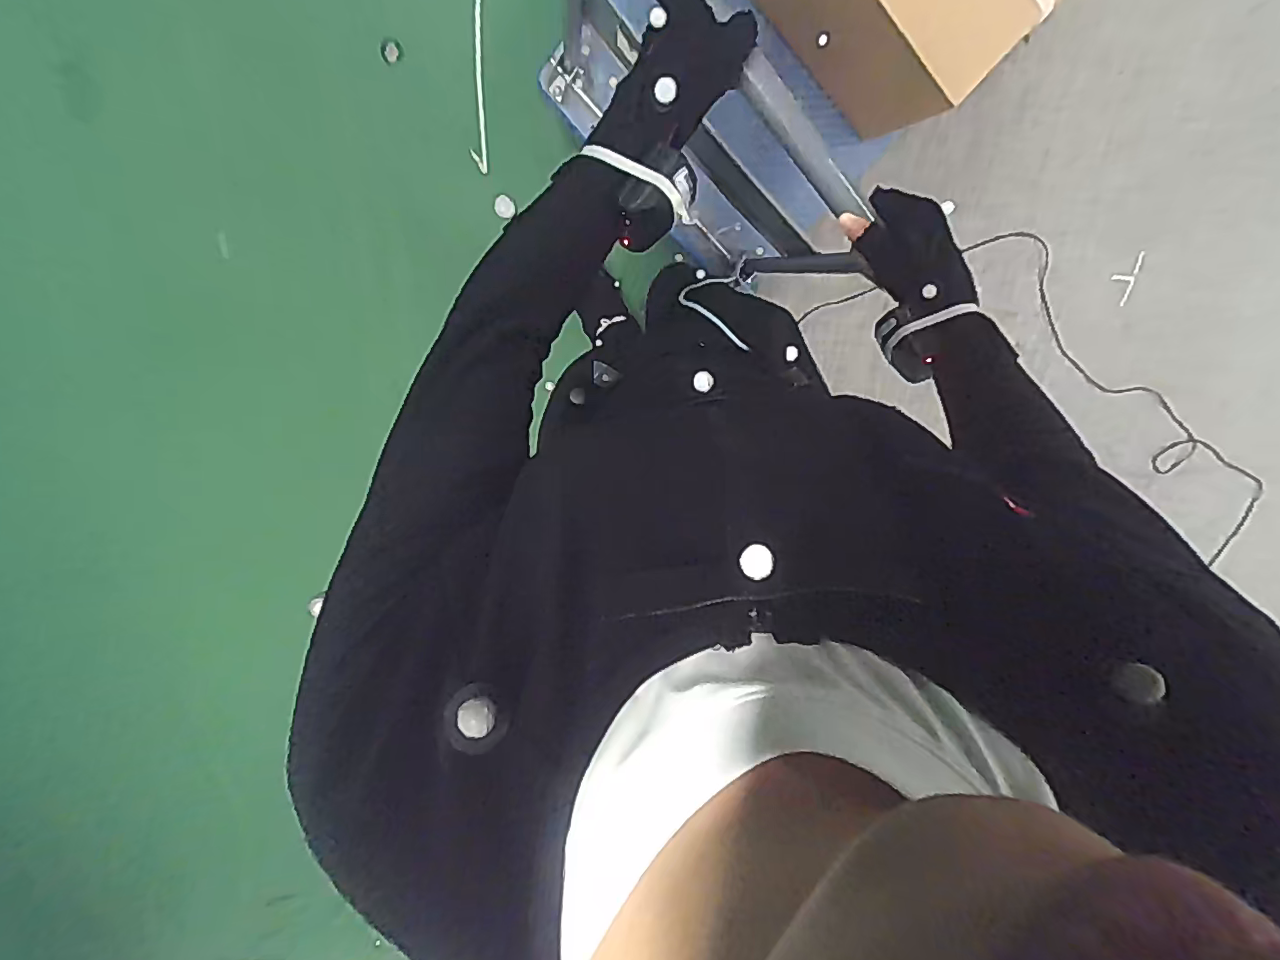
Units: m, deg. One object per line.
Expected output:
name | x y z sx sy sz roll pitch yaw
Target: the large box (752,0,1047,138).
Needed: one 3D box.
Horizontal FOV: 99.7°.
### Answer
large box | 0.406 -0.835 0.840 0.408 0.320 0.320 39 106 -17
